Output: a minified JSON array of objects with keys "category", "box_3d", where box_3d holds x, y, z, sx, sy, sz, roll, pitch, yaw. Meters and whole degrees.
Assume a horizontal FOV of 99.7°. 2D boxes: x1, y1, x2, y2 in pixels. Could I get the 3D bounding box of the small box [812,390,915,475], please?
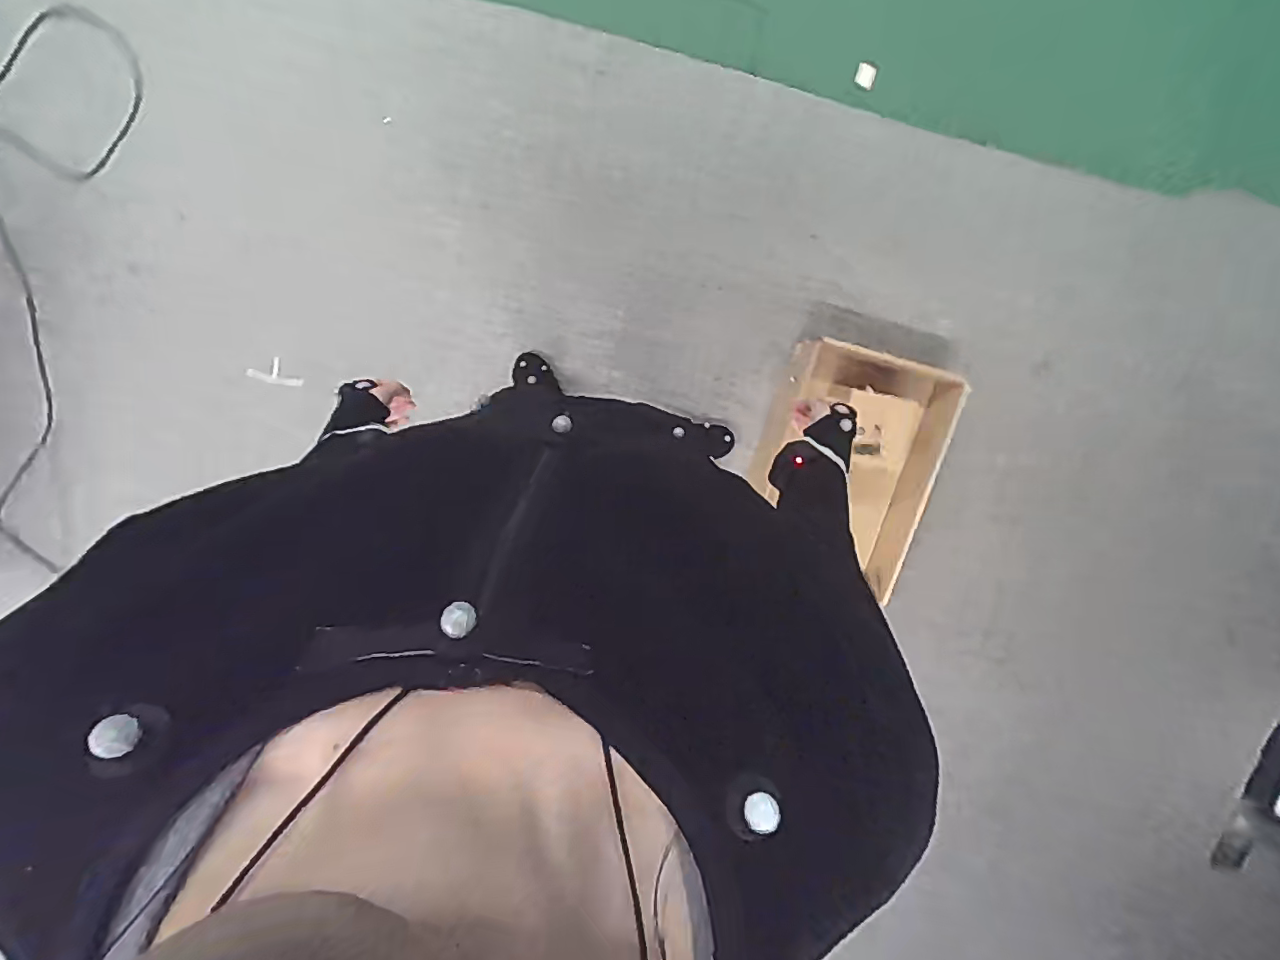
[{"category":"small box","box_3d":[0.551,-0.125,1.364,0.168,0.176,0.179,12,98,-3]}]
